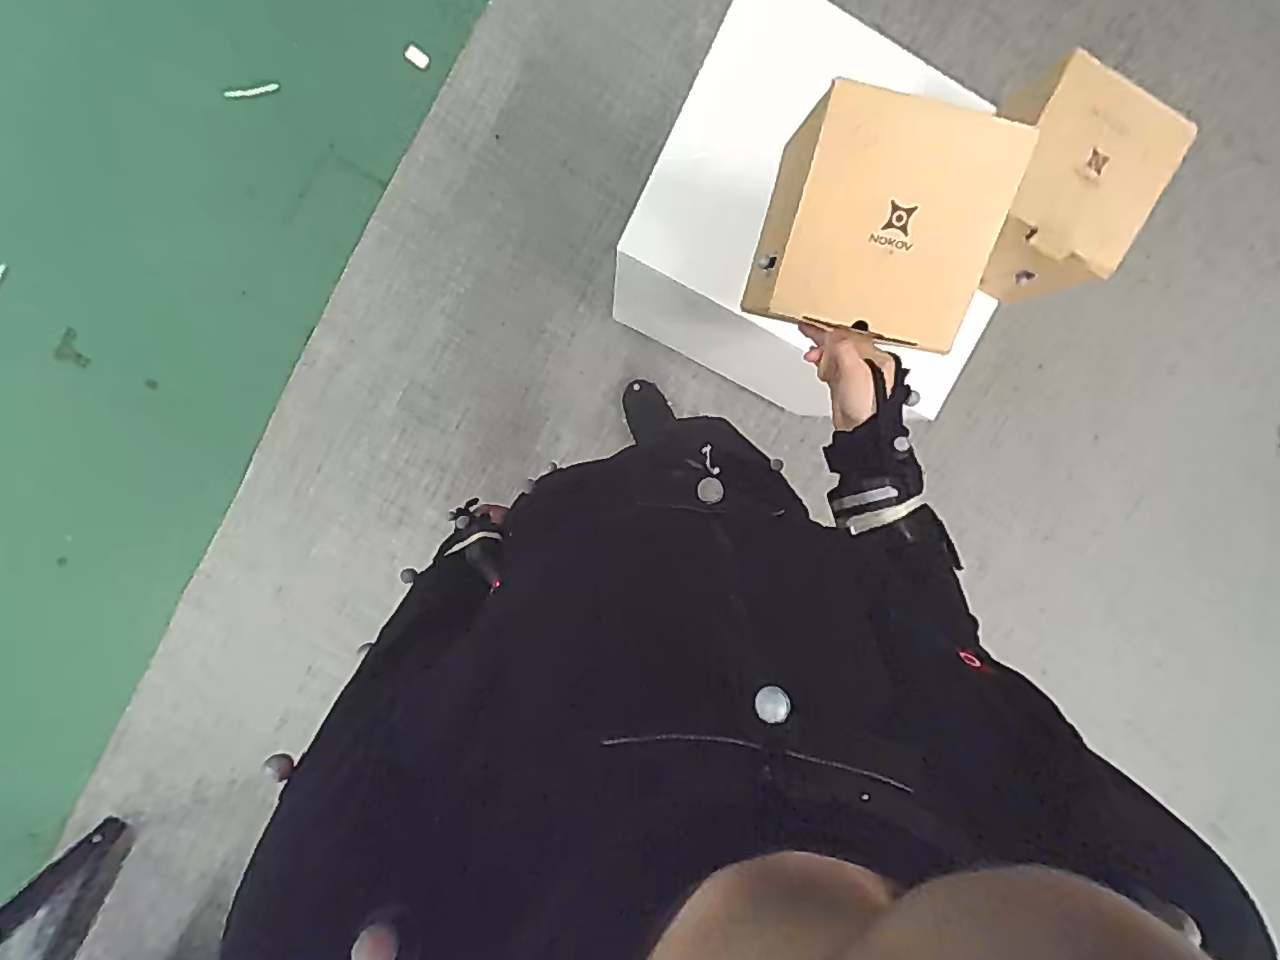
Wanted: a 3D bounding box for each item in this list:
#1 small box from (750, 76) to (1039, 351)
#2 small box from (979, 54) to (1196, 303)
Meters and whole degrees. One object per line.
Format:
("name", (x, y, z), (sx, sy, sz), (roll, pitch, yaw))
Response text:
("small box", (0.214, -0.235, 0.515), (0.168, 0.176, 0.179), (13, 109, -2))
("small box", (0.479, -0.339, 0.654), (0.168, 0.176, 0.179), (27, 94, -8))
